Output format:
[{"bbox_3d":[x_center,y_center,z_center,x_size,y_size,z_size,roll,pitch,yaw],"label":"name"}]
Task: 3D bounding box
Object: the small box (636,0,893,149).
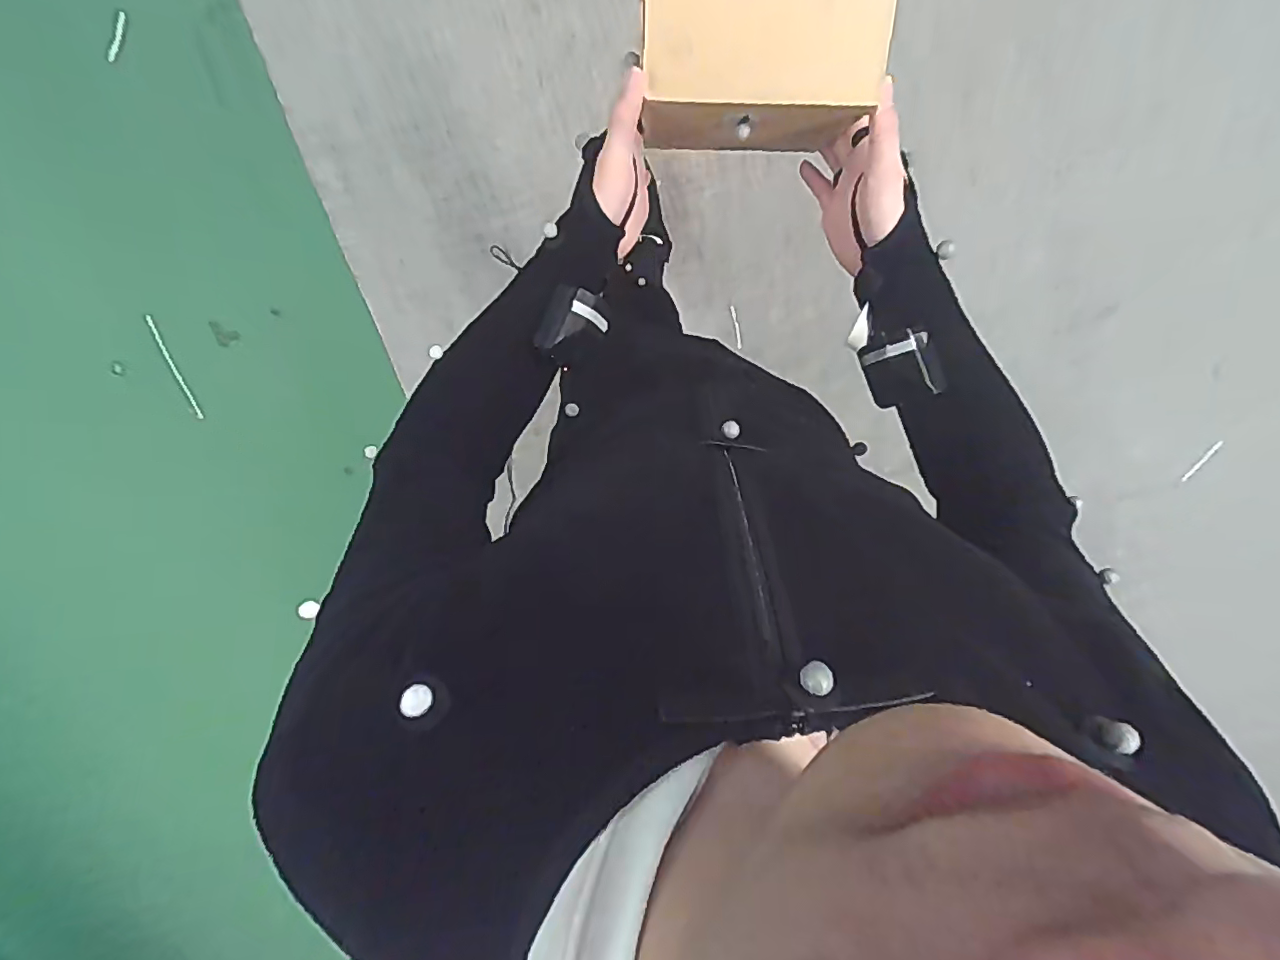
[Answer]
[{"bbox_3d":[0.090,-0.380,0.436,0.179,0.176,0.168,2,112,0],"label":"small box"}]
